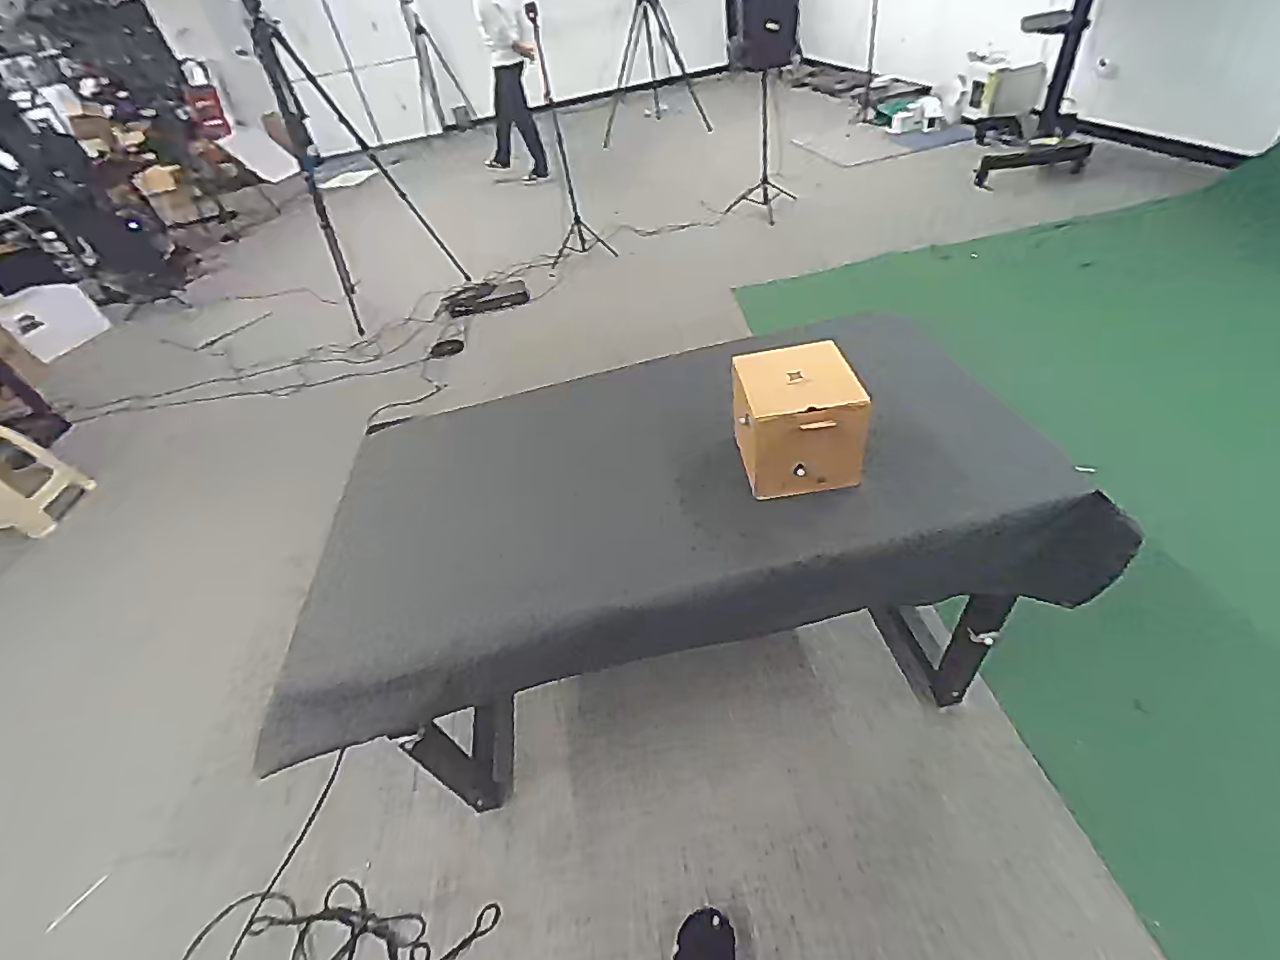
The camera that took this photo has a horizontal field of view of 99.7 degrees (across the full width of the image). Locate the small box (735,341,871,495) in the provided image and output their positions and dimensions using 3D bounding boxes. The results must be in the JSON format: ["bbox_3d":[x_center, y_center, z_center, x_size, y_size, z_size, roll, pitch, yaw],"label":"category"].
[{"bbox_3d":[0.250,-0.099,0.877,0.168,0.176,0.179,-9,43,3],"label":"small box"}]
